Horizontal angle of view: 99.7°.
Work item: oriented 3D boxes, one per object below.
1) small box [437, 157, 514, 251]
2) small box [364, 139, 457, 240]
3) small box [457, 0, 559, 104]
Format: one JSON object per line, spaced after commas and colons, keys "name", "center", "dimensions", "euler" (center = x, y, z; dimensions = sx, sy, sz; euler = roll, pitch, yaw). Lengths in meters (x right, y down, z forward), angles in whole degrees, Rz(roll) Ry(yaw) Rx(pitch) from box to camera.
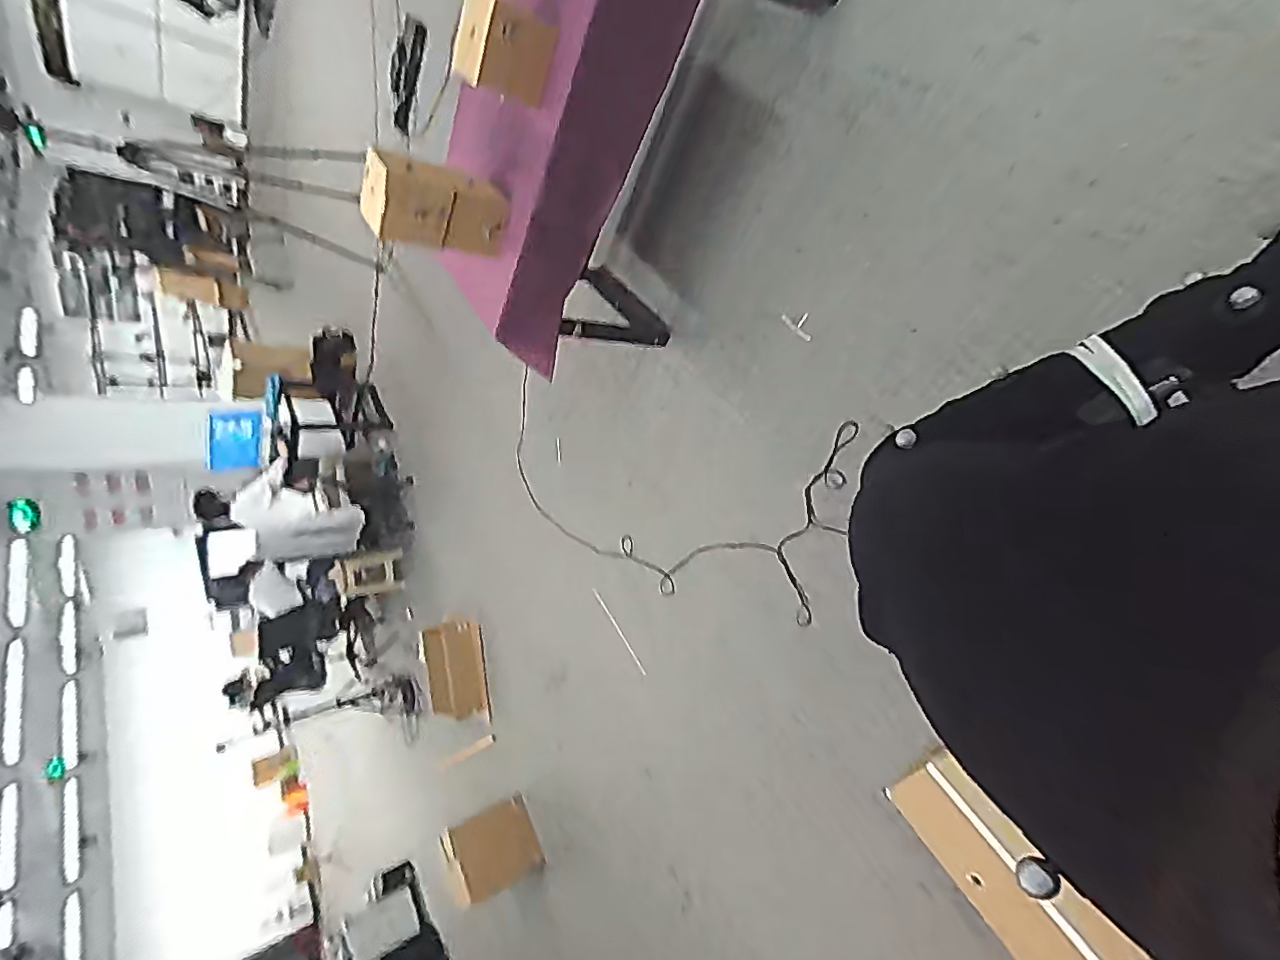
{"name": "small box", "center": [-0.485, -0.777, 1.537], "dimensions": [0.179, 0.176, 0.168], "euler": [53, 130, 29]}
{"name": "small box", "center": [-0.604, -0.755, 1.425], "dimensions": [0.179, 0.176, 0.168], "euler": [53, 129, 29]}
{"name": "small box", "center": [-0.317, -1.064, 1.316], "dimensions": [0.168, 0.176, 0.179], "euler": [52, 129, 31]}
